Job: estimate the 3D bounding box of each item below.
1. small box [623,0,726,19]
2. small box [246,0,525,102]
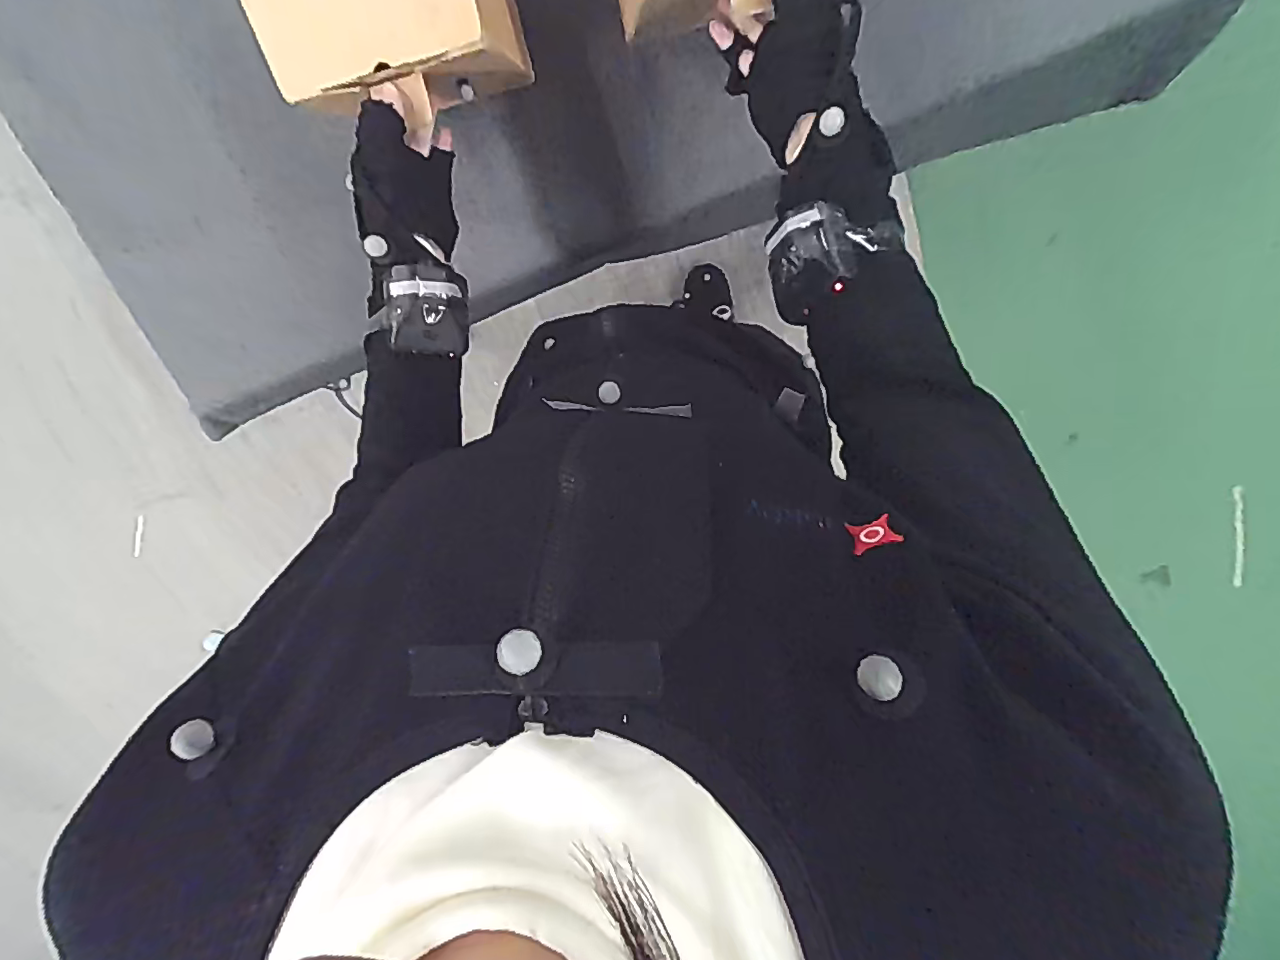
[{"bbox_3d":[0.056,-0.466,0.387,0.168,0.176,0.179,-15,120,0],"label":"small box"},{"bbox_3d":[-0.203,-0.421,0.426,0.168,0.176,0.179,-10,118,6],"label":"small box"}]
